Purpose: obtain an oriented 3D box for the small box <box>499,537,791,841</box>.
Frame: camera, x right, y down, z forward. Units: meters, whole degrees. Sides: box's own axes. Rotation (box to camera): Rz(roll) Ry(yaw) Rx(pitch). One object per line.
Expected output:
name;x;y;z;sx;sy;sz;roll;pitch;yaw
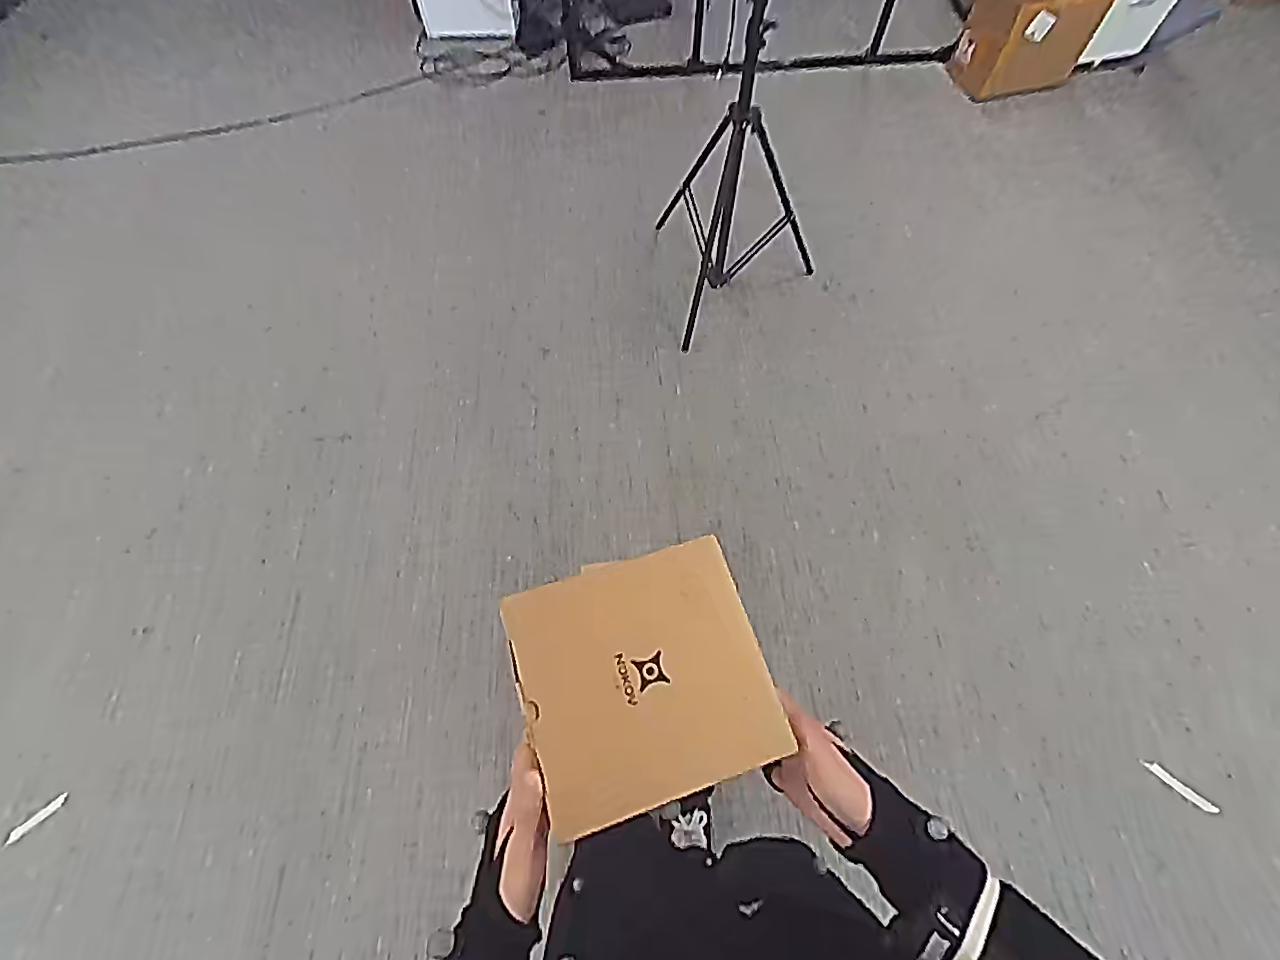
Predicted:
small box;-0.004;0.167;0.462;0.179;0.176;0.168;-17;70;-9
